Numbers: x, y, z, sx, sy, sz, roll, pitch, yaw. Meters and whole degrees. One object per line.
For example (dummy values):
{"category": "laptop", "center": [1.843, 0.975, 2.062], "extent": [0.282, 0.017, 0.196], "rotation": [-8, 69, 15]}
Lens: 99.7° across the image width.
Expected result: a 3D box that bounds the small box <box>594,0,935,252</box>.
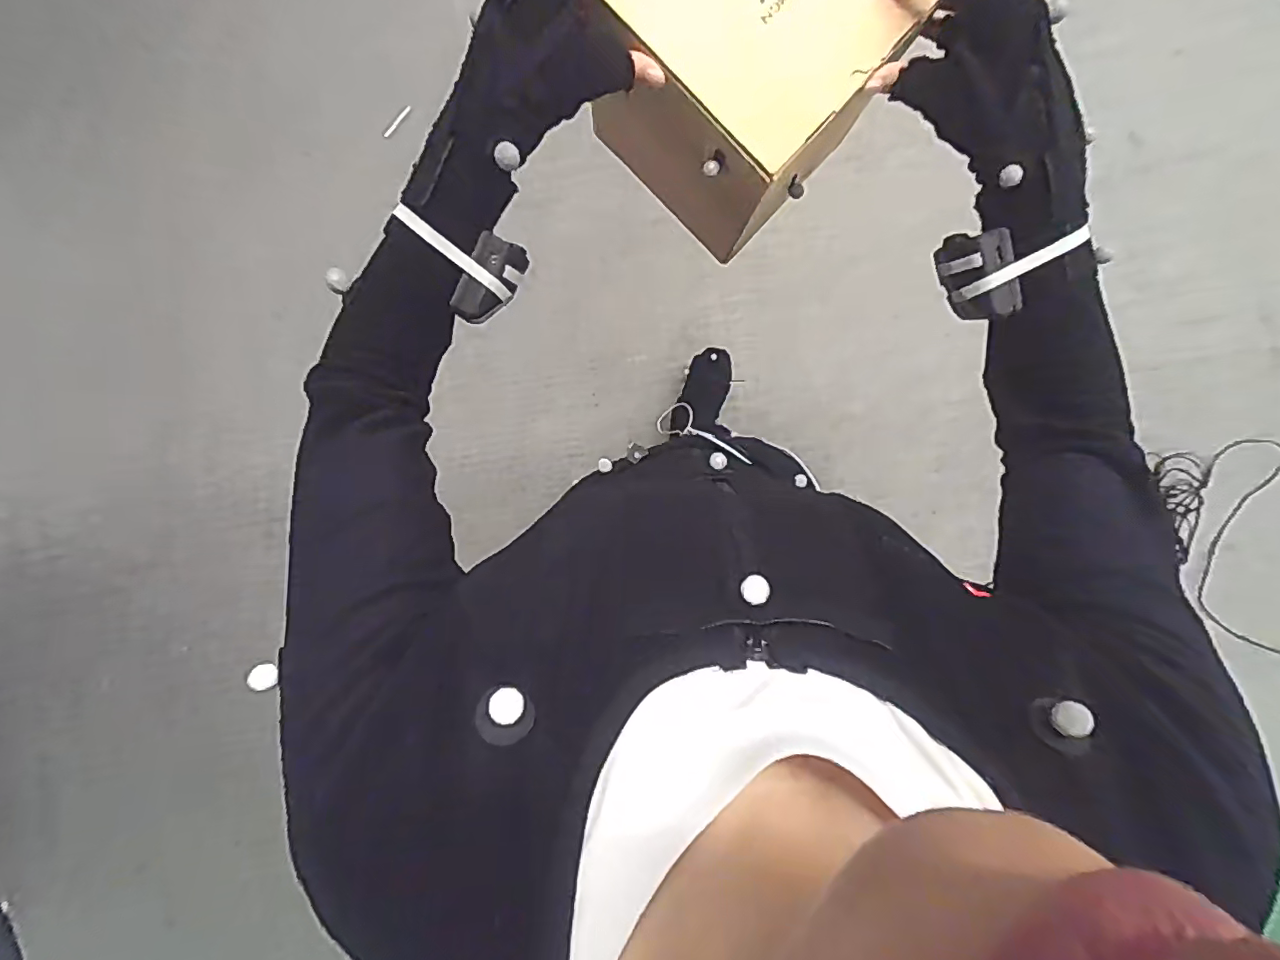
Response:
{"category": "small box", "center": [0.076, -0.322, 0.433], "extent": [0.179, 0.176, 0.168], "rotation": [44, 90, -5]}
